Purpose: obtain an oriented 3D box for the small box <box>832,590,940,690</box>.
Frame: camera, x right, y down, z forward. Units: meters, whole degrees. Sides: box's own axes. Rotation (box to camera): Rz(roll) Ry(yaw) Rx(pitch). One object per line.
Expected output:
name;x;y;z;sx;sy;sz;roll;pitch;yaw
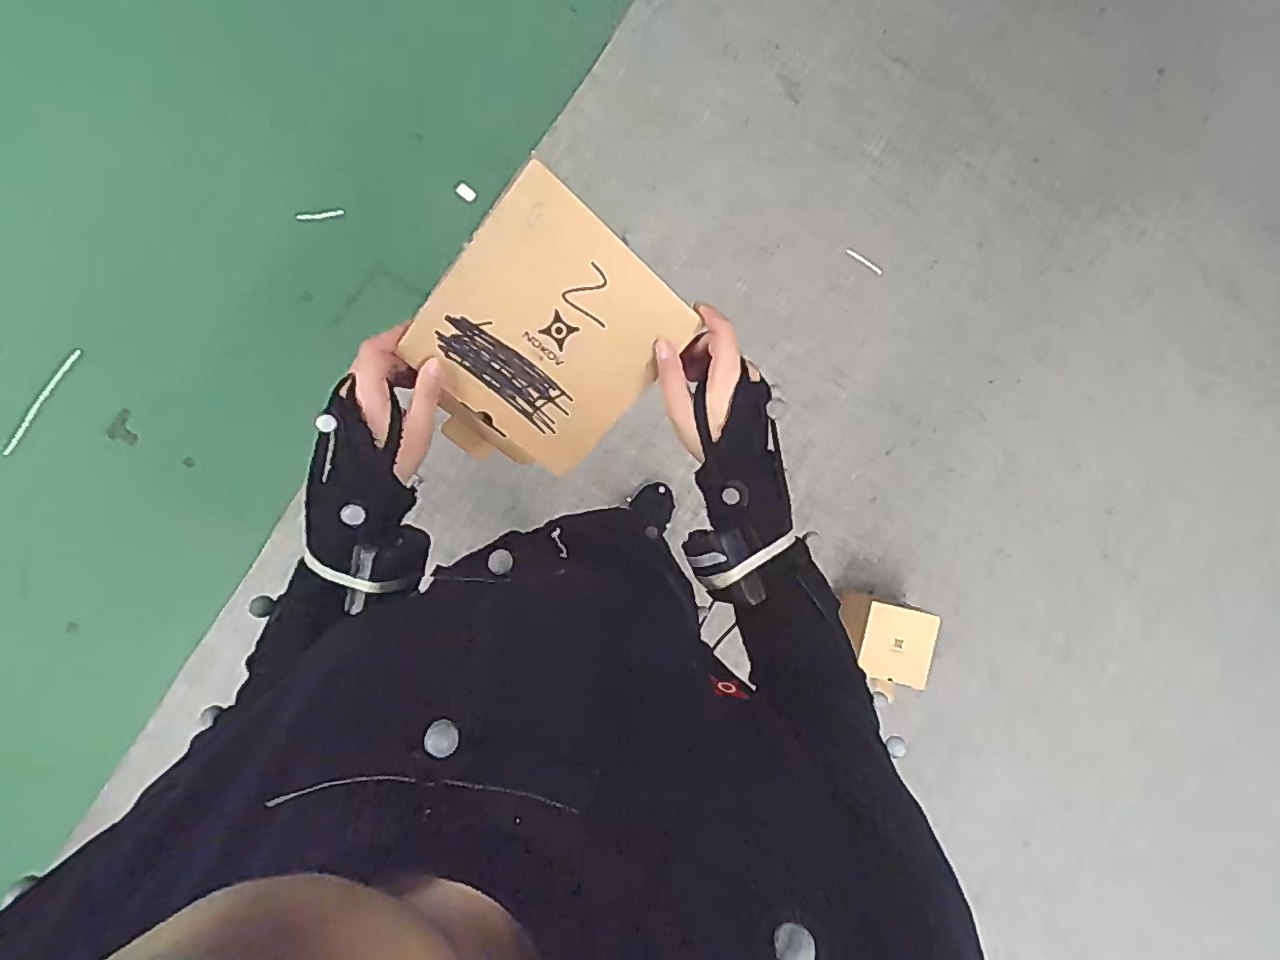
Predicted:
small box;0.588;0.378;1.312;0.168;0.176;0.179;13;90;-2
